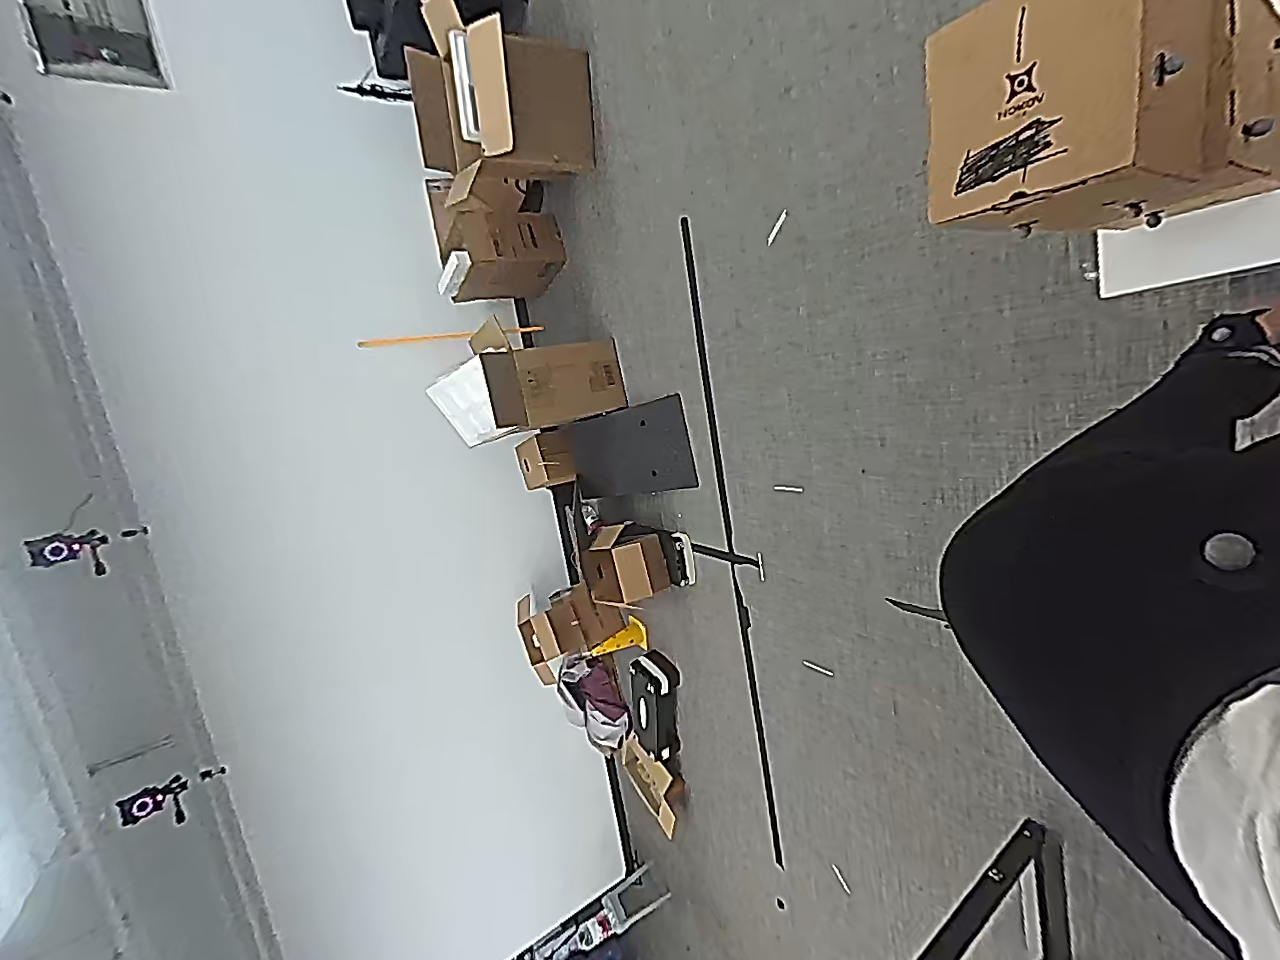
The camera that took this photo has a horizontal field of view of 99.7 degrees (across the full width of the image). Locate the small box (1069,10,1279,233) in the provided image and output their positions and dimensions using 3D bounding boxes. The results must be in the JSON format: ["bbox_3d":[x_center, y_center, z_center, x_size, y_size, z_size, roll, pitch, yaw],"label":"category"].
[{"bbox_3d":[0.668,-0.425,0.677,0.168,0.176,0.179,5,107,57],"label":"small box"}]

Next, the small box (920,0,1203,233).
[{"bbox_3d":[0.393,-0.348,0.514,0.168,0.176,0.179,11,111,56],"label":"small box"}]
